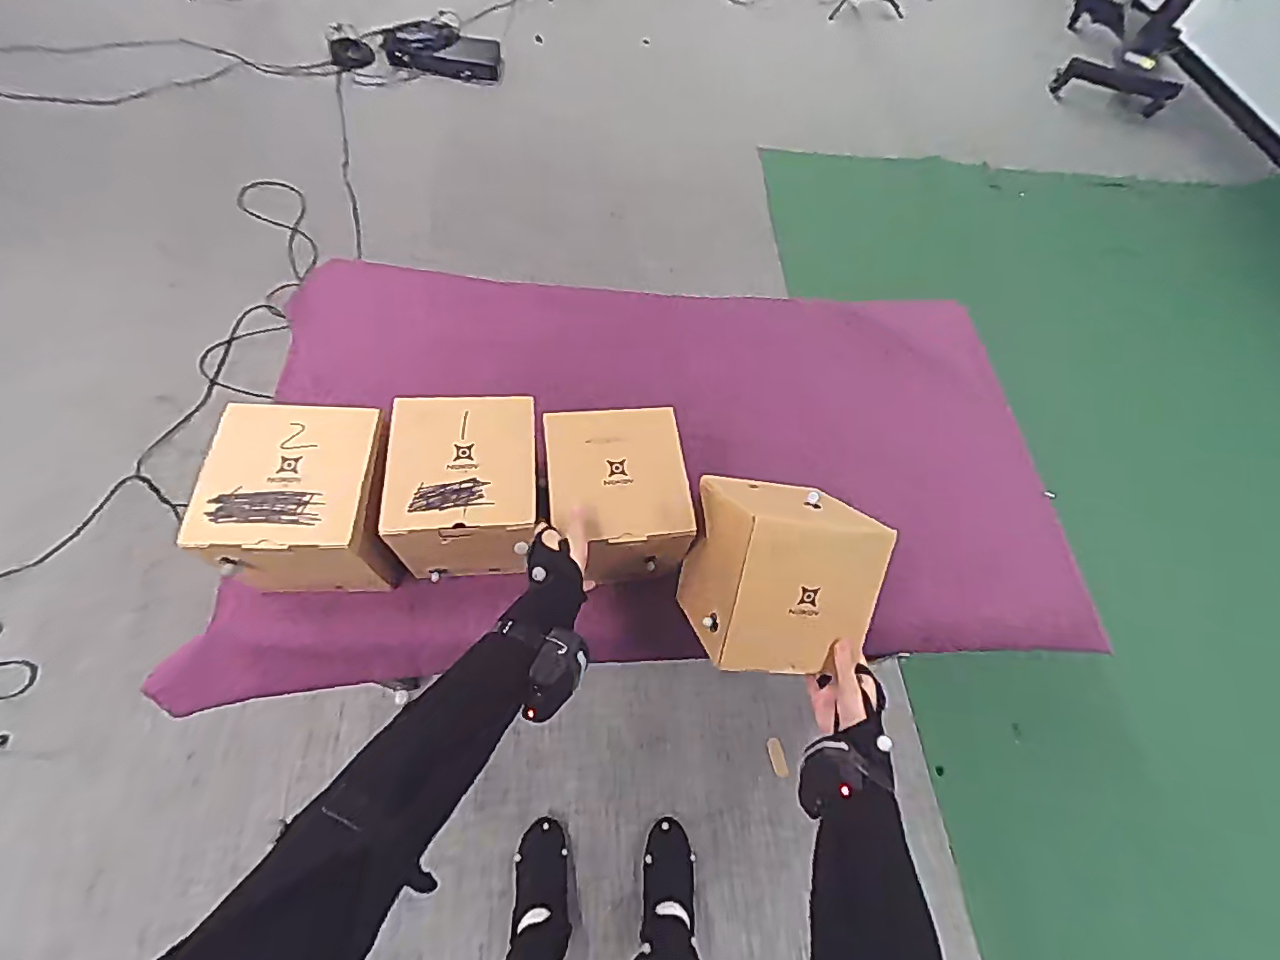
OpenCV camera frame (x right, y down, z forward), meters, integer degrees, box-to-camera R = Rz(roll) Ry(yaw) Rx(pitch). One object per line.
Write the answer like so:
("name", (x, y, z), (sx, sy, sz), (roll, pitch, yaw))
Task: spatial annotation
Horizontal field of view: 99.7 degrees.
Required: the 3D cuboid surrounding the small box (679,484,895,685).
("small box", (0.154, 0.113, 0.632), (0.168, 0.176, 0.179), (7, 105, -14))
